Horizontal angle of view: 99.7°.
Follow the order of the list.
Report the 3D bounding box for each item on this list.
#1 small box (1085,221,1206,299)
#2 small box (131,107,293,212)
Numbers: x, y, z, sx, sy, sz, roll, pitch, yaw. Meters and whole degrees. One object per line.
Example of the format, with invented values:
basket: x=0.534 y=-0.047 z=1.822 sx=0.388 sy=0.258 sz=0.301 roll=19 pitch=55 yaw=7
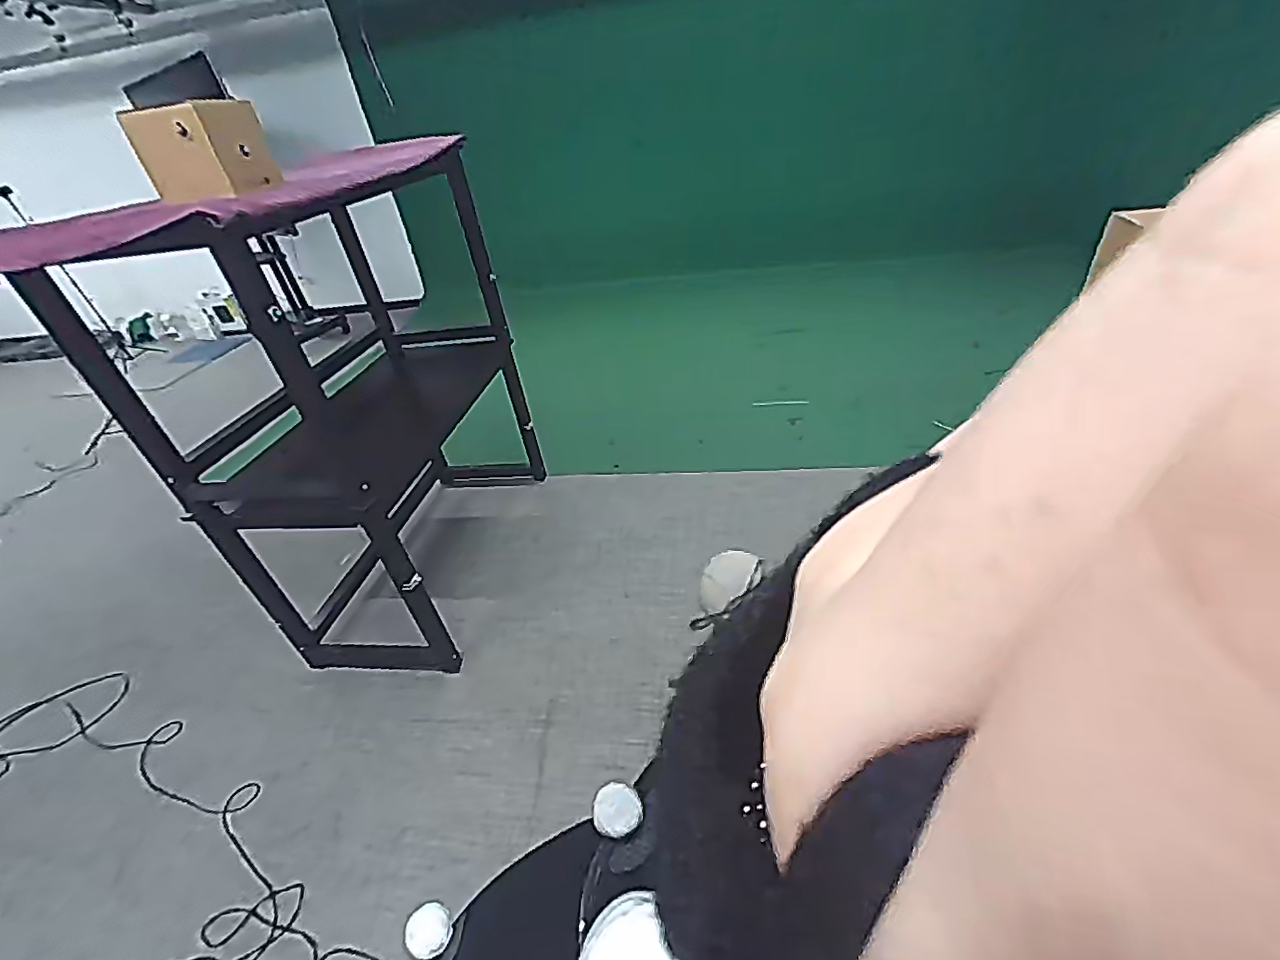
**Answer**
small box: x=1.424 y=-0.622 z=1.538 sx=0.168 sy=0.176 sz=0.179 roll=1 pitch=37 yaw=10
small box: x=-0.894 y=-0.684 z=1.153 sx=0.179 sy=0.176 sz=0.168 roll=-2 pitch=34 yaw=9
